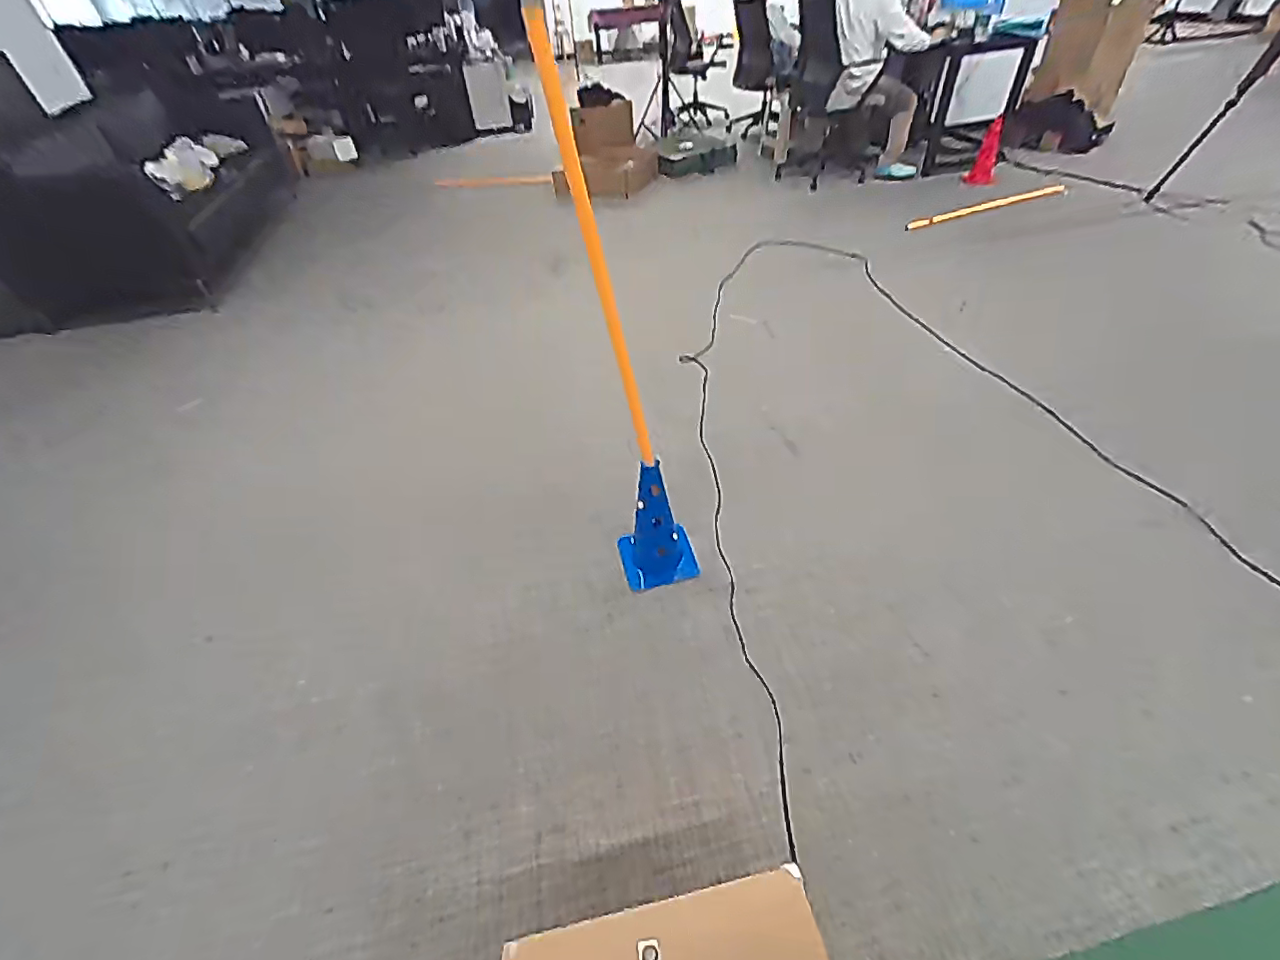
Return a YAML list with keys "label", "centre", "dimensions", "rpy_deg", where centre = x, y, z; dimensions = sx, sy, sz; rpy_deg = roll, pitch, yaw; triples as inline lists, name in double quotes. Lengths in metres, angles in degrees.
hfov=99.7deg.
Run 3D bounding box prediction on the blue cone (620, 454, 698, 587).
- label: "blue cone"
  centre: [0.037, 0.090, 1.398]
  dimensions: [0.193, 0.380, 0.192]
  rpy_deg: [-15, 43, -7]
